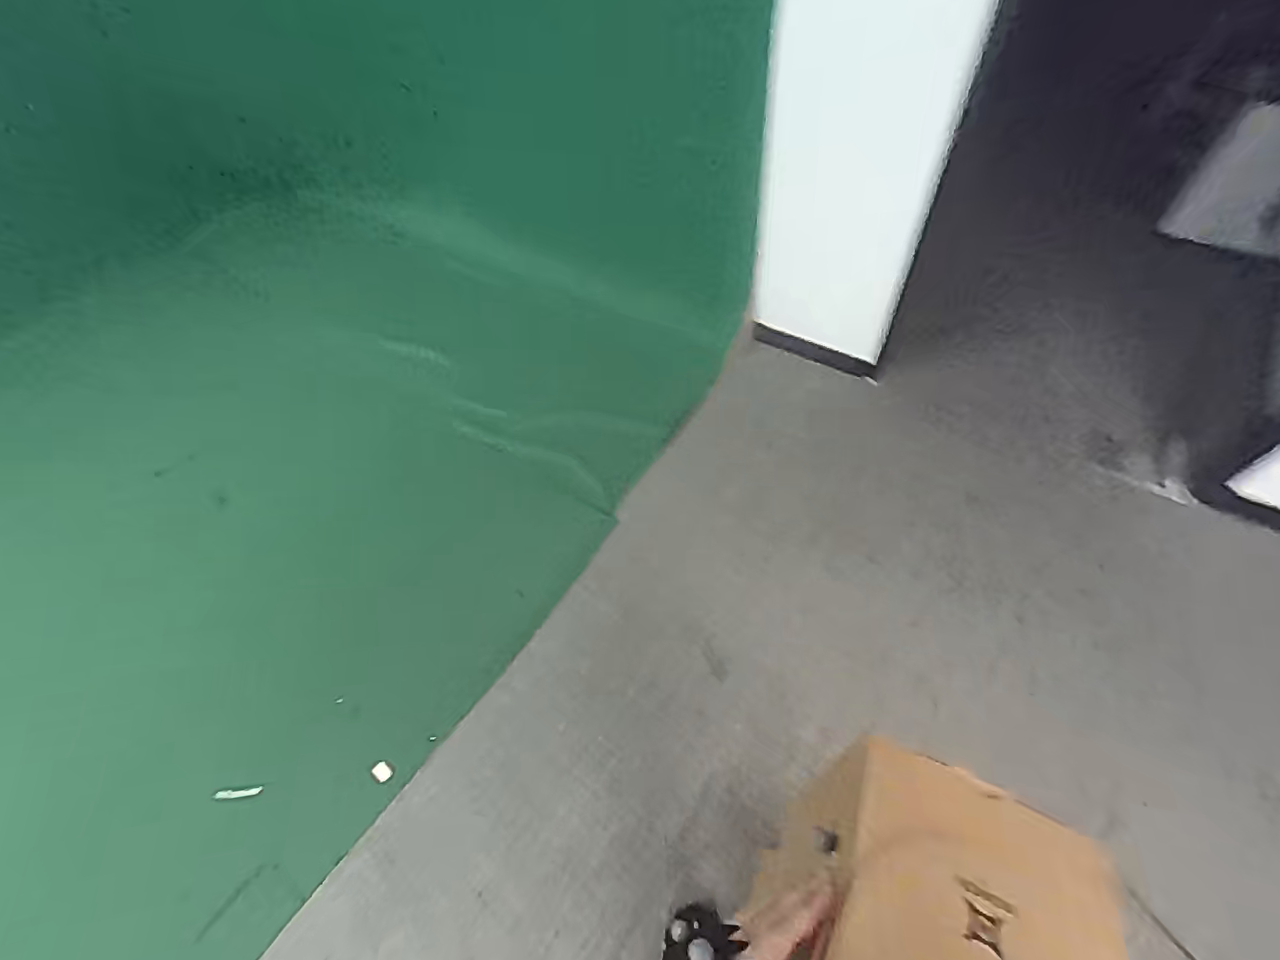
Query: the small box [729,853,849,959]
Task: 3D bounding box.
[{"bbox_3d":[0.286,0.870,1.059,0.168,0.176,0.179,24,62,21],"label":"small box"}]
